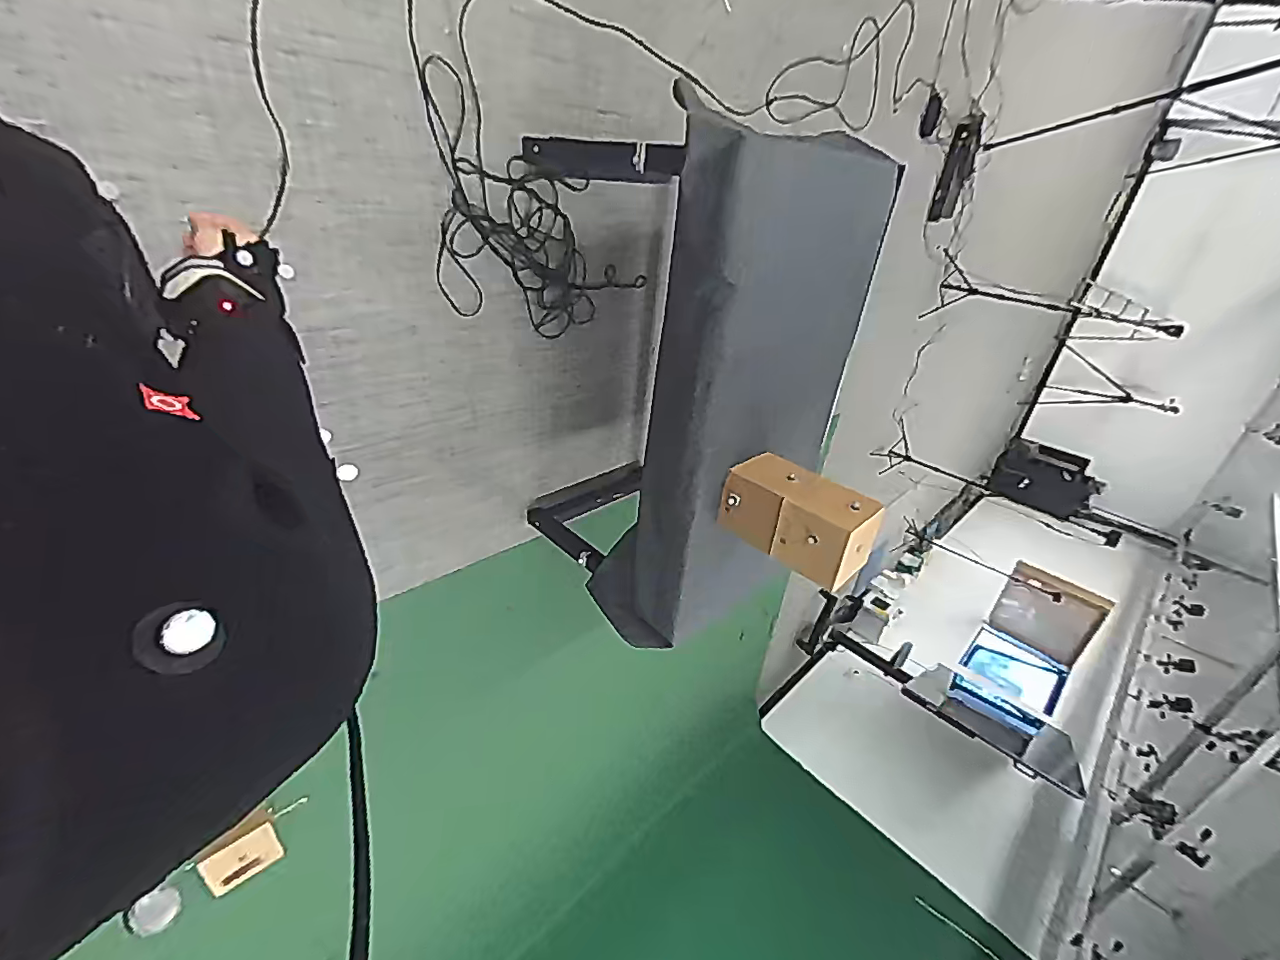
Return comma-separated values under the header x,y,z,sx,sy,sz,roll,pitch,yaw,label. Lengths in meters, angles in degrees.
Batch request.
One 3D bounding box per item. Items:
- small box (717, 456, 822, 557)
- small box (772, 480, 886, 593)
x,y,z,sx,sy,sz,roll,pitch,yaw,label
0.318,0.056,1.340,0.179,0.176,0.168,-20,128,-40,small box
0.425,0.121,1.236,0.179,0.176,0.168,-23,130,-40,small box
